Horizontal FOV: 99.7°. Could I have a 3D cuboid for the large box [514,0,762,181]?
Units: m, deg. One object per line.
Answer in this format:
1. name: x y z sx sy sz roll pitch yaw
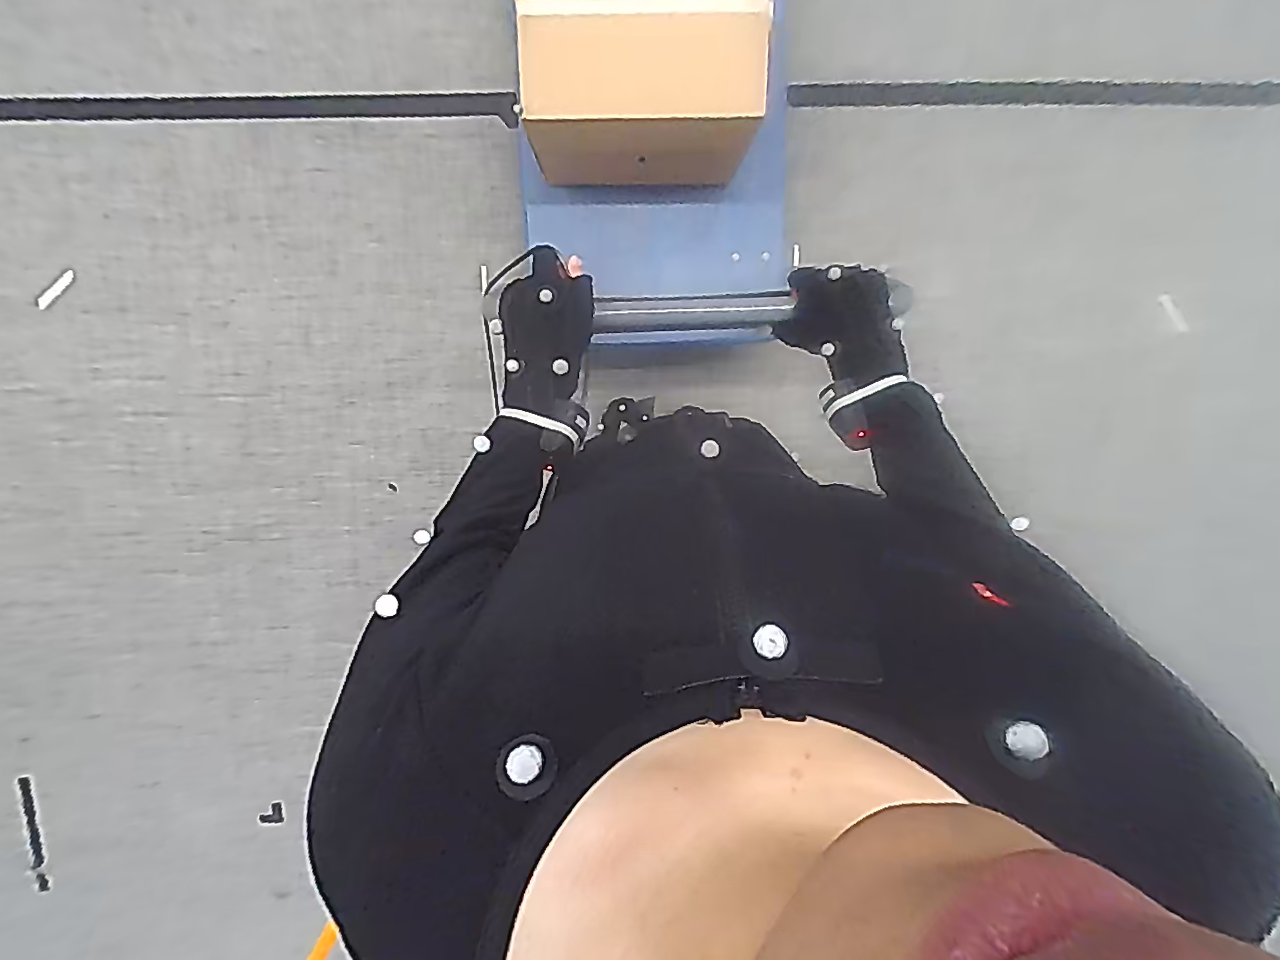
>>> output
1. large box: -0.002 -0.777 1.008 0.408 0.320 0.320 -1 101 0
